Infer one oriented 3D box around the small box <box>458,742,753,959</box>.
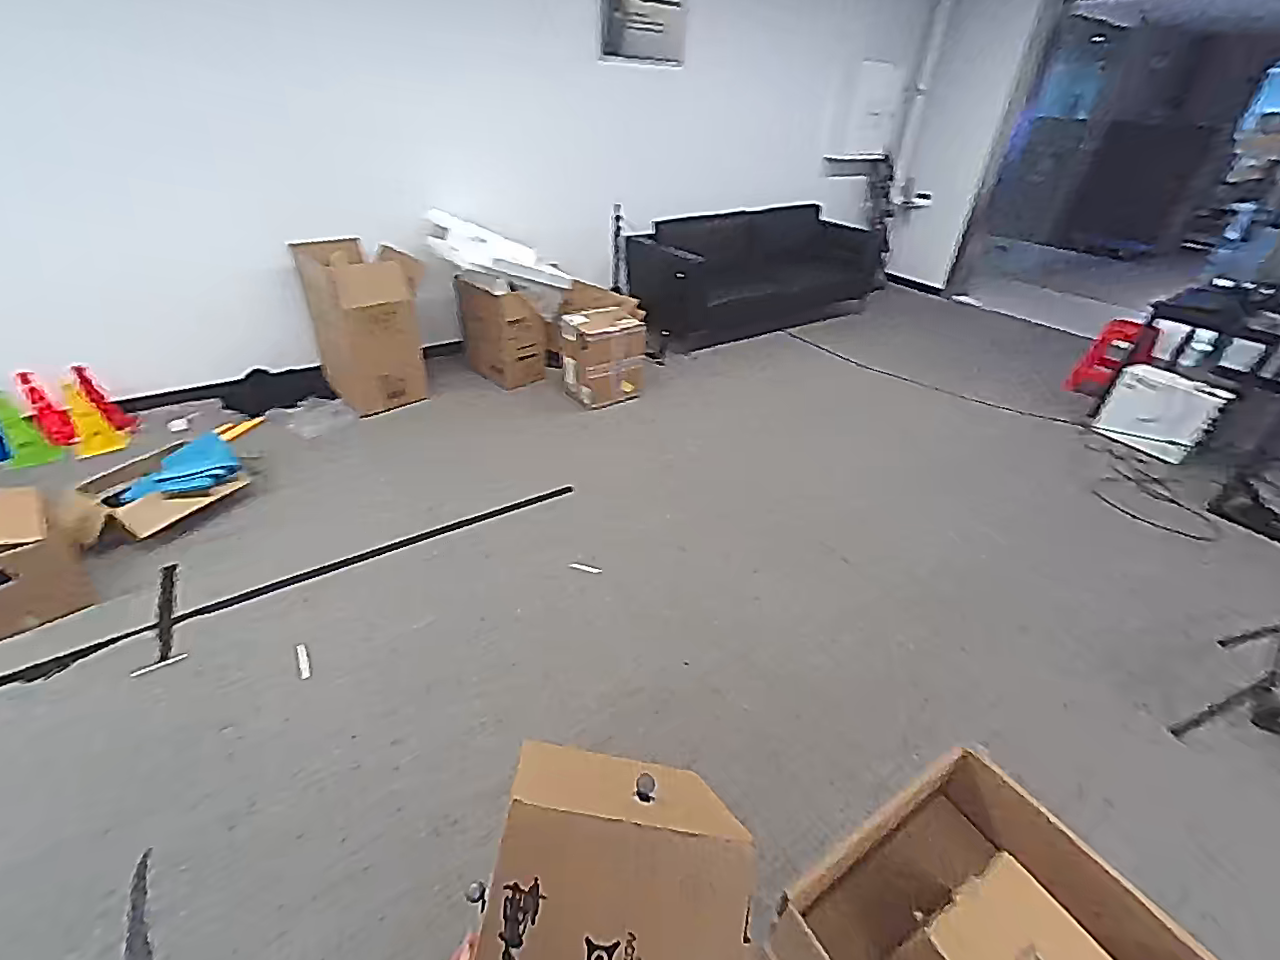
[{"bbox_3d":[-0.035,0.320,0.422,0.179,0.176,0.168,15,73,-7],"label":"small box"}]
